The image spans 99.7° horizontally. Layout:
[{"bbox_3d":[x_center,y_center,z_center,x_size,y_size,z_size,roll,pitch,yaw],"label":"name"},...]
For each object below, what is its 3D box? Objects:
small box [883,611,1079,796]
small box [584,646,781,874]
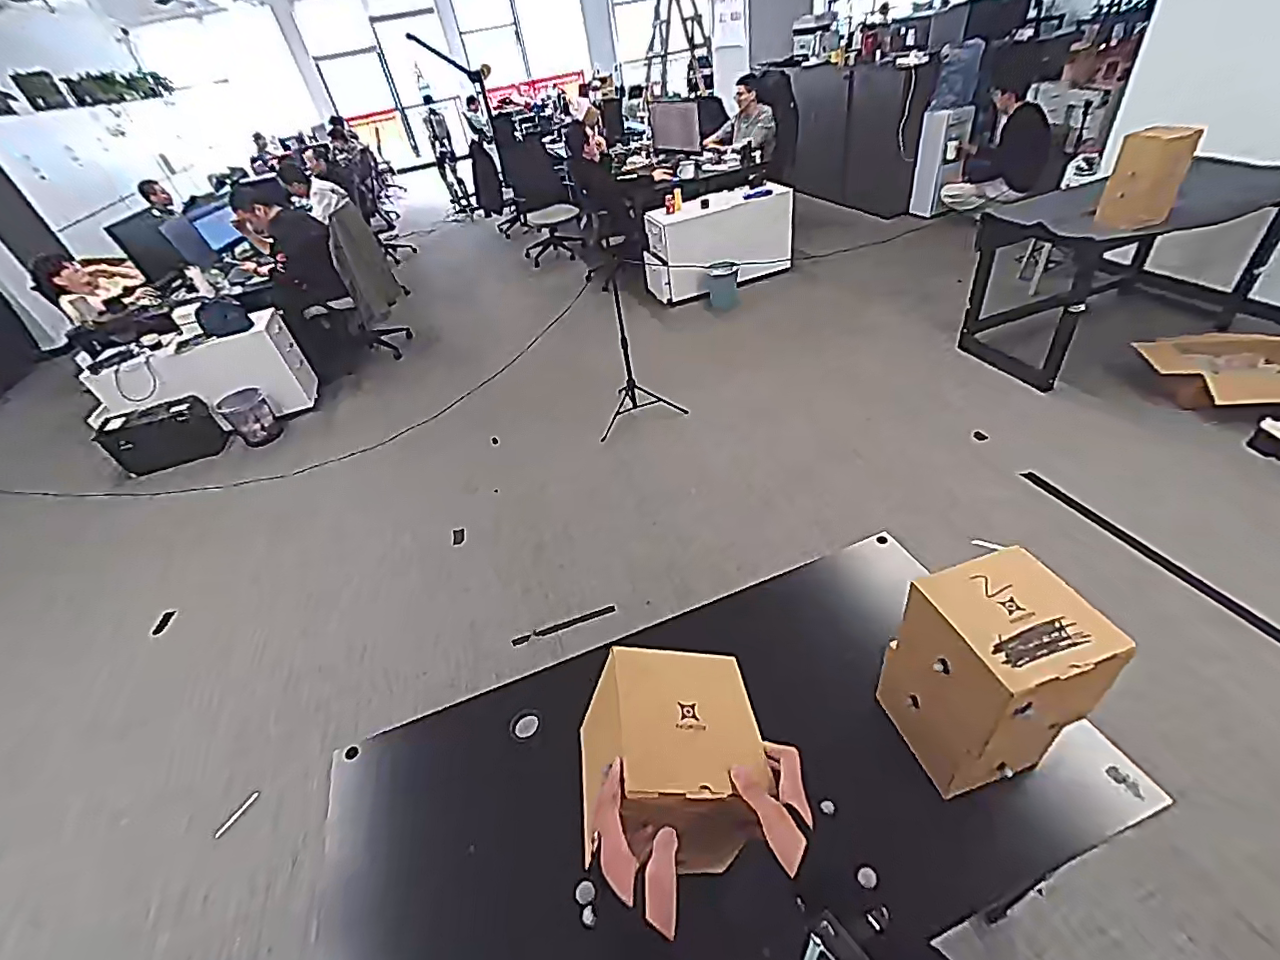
[{"bbox_3d":[0.495,0.337,0.821,0.168,0.176,0.179,-17,40,-5],"label":"small box"},{"bbox_3d":[0.033,0.325,0.633,0.168,0.176,0.179,10,32,-15],"label":"small box"}]
